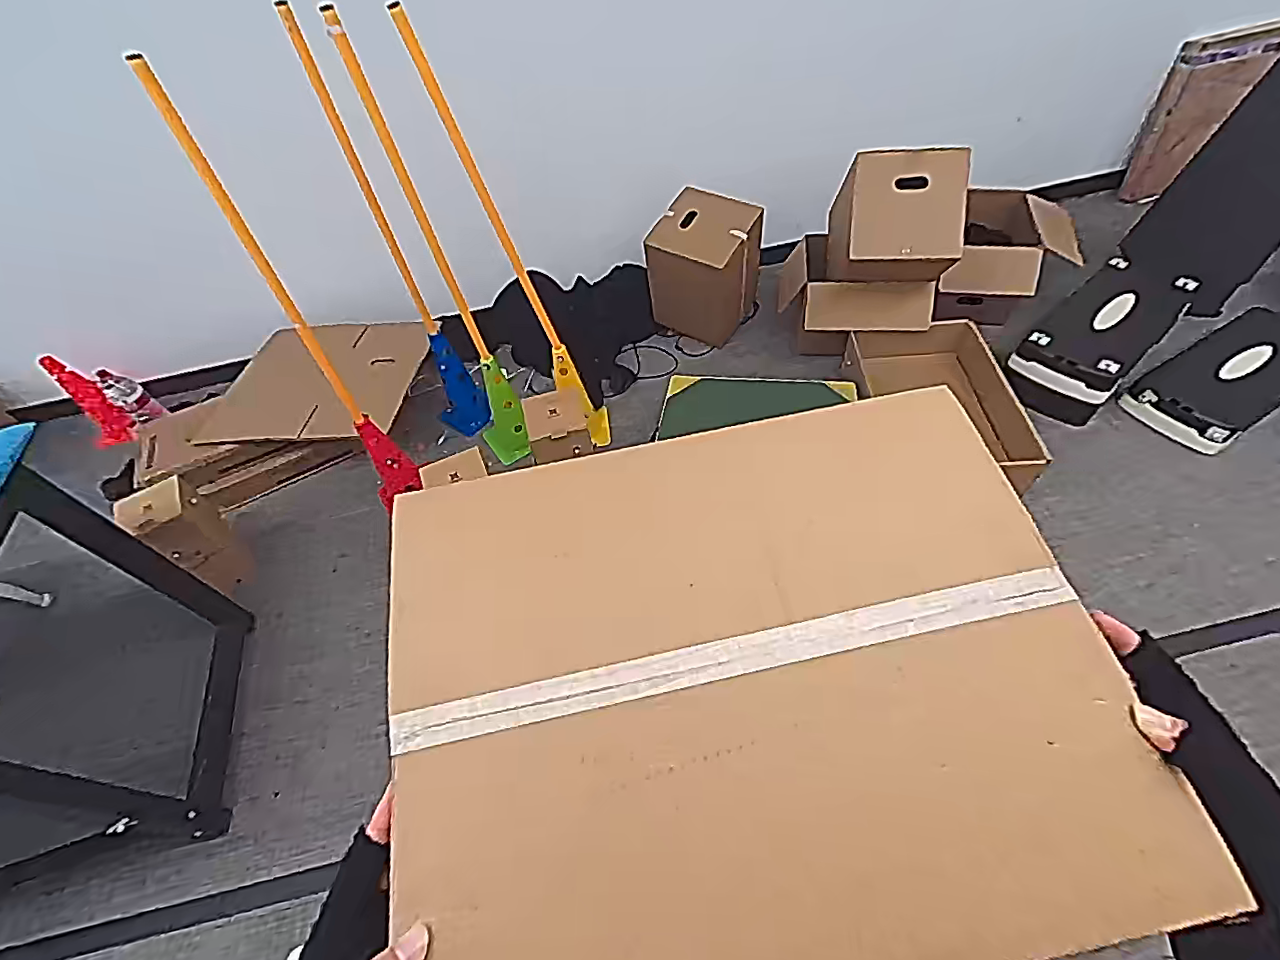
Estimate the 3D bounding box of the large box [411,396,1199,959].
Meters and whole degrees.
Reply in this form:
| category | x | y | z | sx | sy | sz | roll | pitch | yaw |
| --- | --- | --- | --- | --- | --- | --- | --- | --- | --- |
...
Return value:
| category | x | y | z | sx | sy | sz | roll | pitch | yaw |
| --- | --- | --- | --- | --- | --- | --- | --- | --- | --- |
| large box | 0.066 | 0.178 | 0.461 | 0.408 | 0.320 | 0.320 | -12 | 63 | -3 |
